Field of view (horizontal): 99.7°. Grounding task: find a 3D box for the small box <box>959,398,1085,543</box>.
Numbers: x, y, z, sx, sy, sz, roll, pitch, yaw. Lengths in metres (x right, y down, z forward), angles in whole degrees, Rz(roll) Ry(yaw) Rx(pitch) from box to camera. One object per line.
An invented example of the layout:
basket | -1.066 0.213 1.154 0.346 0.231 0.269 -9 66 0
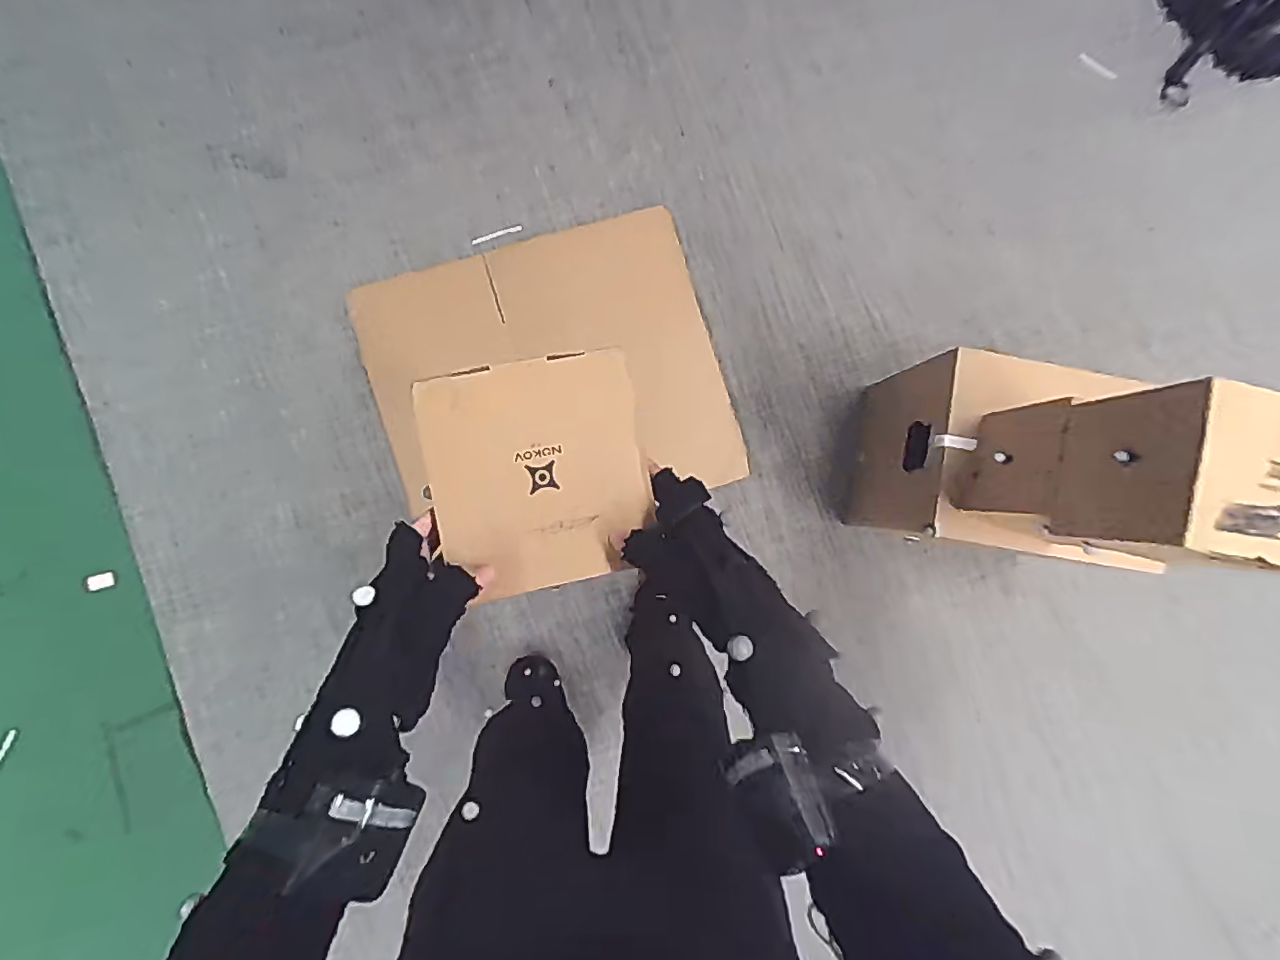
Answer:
small box | 0.607 -0.003 0.790 0.179 0.176 0.168 15 85 -3

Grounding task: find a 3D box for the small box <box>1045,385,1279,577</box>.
small box | 0.613 0.003 0.622 0.168 0.176 0.179 9 89 -3

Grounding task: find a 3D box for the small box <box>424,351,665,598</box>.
small box | -0.087 -0.002 0.515 0.168 0.176 0.179 -13 89 -8
